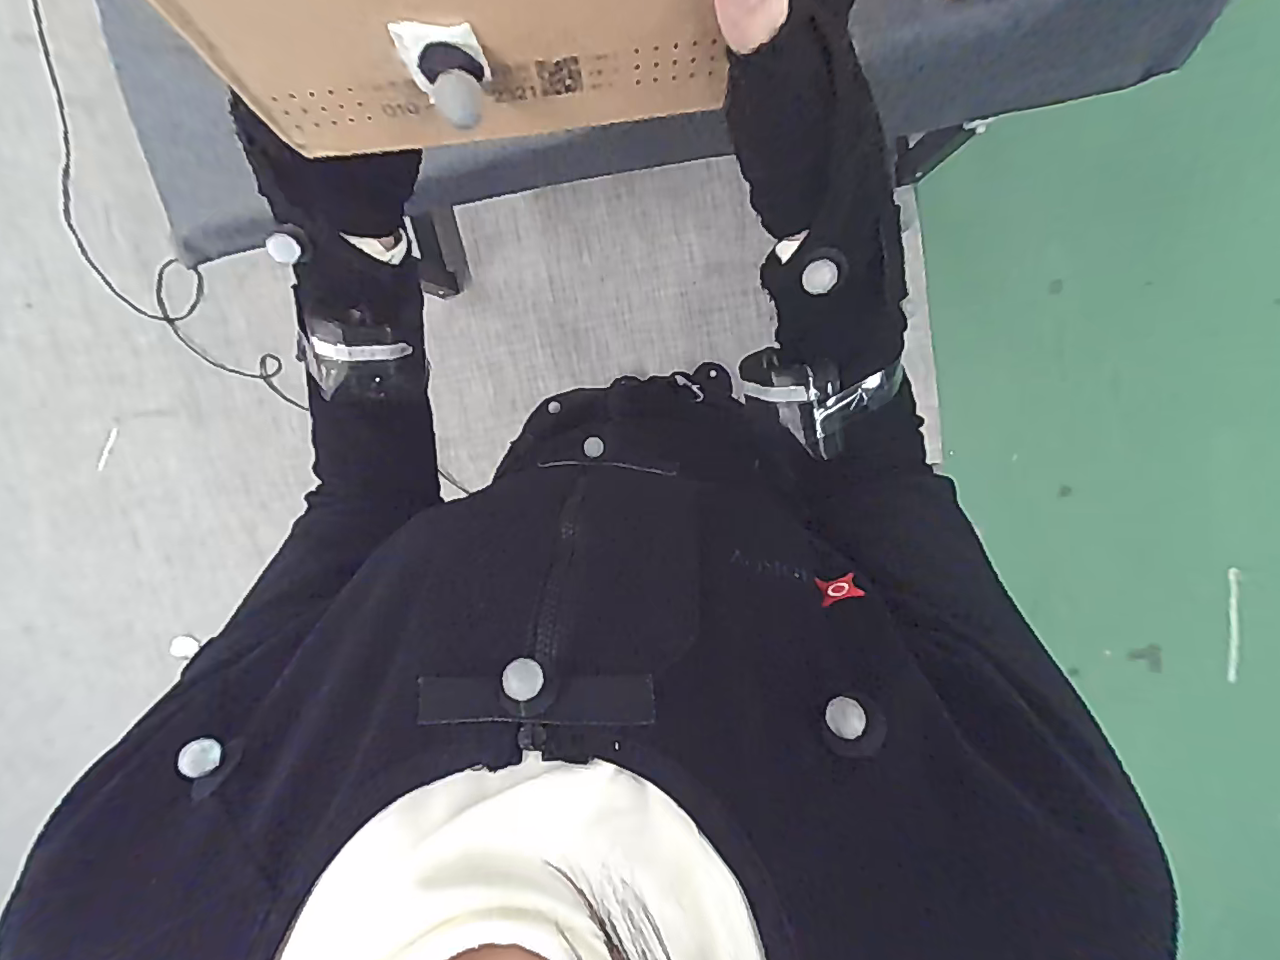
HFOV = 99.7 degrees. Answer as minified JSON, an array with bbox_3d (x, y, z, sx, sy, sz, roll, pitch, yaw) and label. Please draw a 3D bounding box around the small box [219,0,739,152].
[{"bbox_3d":[-0.060,-0.231,0.141,0.168,0.176,0.179,-9,86,2],"label":"small box"}]
